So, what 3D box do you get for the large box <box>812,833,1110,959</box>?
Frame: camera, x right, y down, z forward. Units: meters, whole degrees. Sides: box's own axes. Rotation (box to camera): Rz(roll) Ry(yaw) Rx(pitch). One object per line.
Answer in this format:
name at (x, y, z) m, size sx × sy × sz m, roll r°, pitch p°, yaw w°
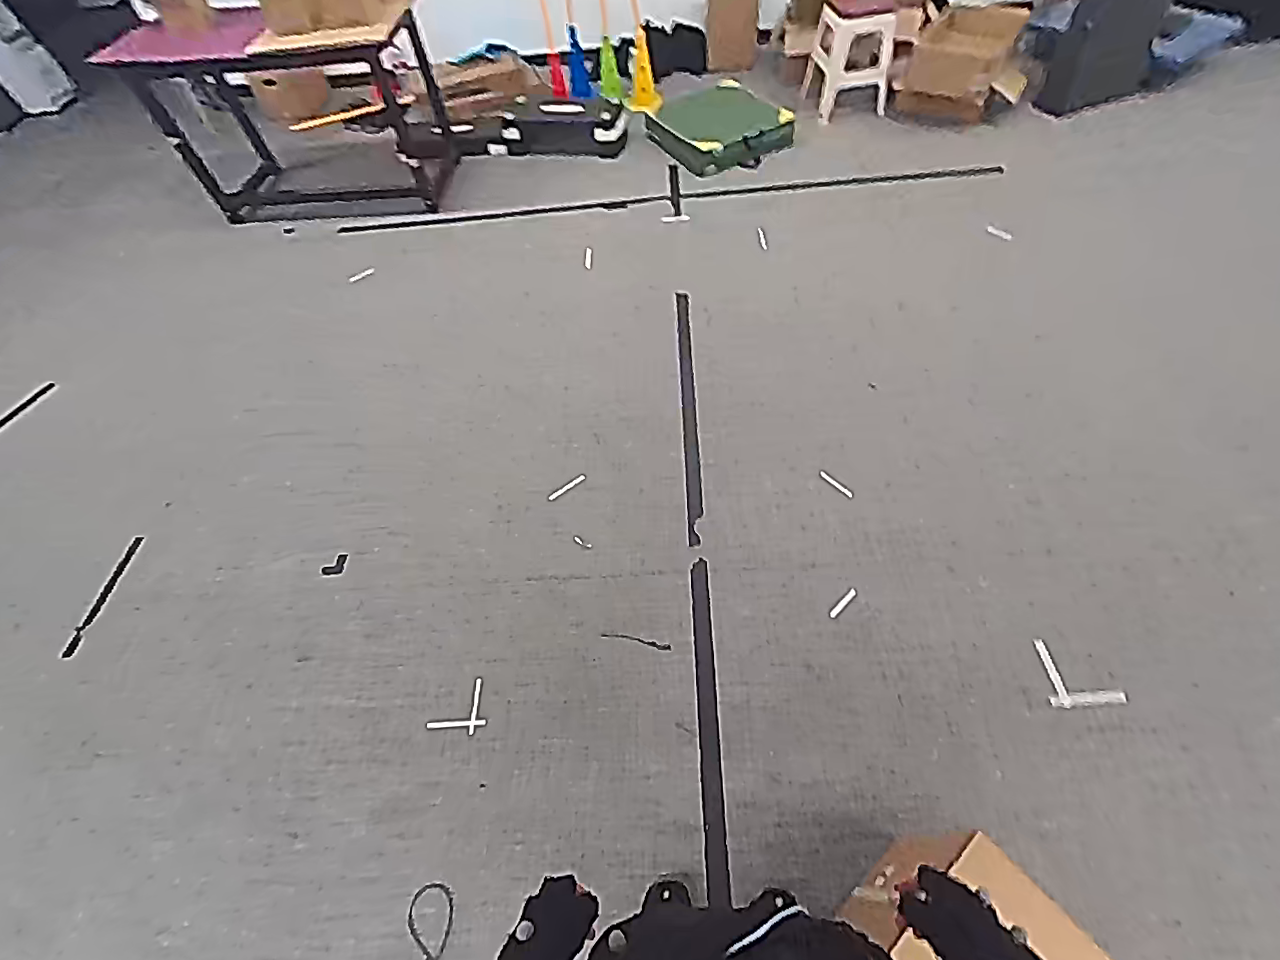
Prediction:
large box at (0.542, 0.857, 0.905) m, size 0.320 × 0.408 × 0.320 m, roll -36°, pitch 59°, yaw -19°
